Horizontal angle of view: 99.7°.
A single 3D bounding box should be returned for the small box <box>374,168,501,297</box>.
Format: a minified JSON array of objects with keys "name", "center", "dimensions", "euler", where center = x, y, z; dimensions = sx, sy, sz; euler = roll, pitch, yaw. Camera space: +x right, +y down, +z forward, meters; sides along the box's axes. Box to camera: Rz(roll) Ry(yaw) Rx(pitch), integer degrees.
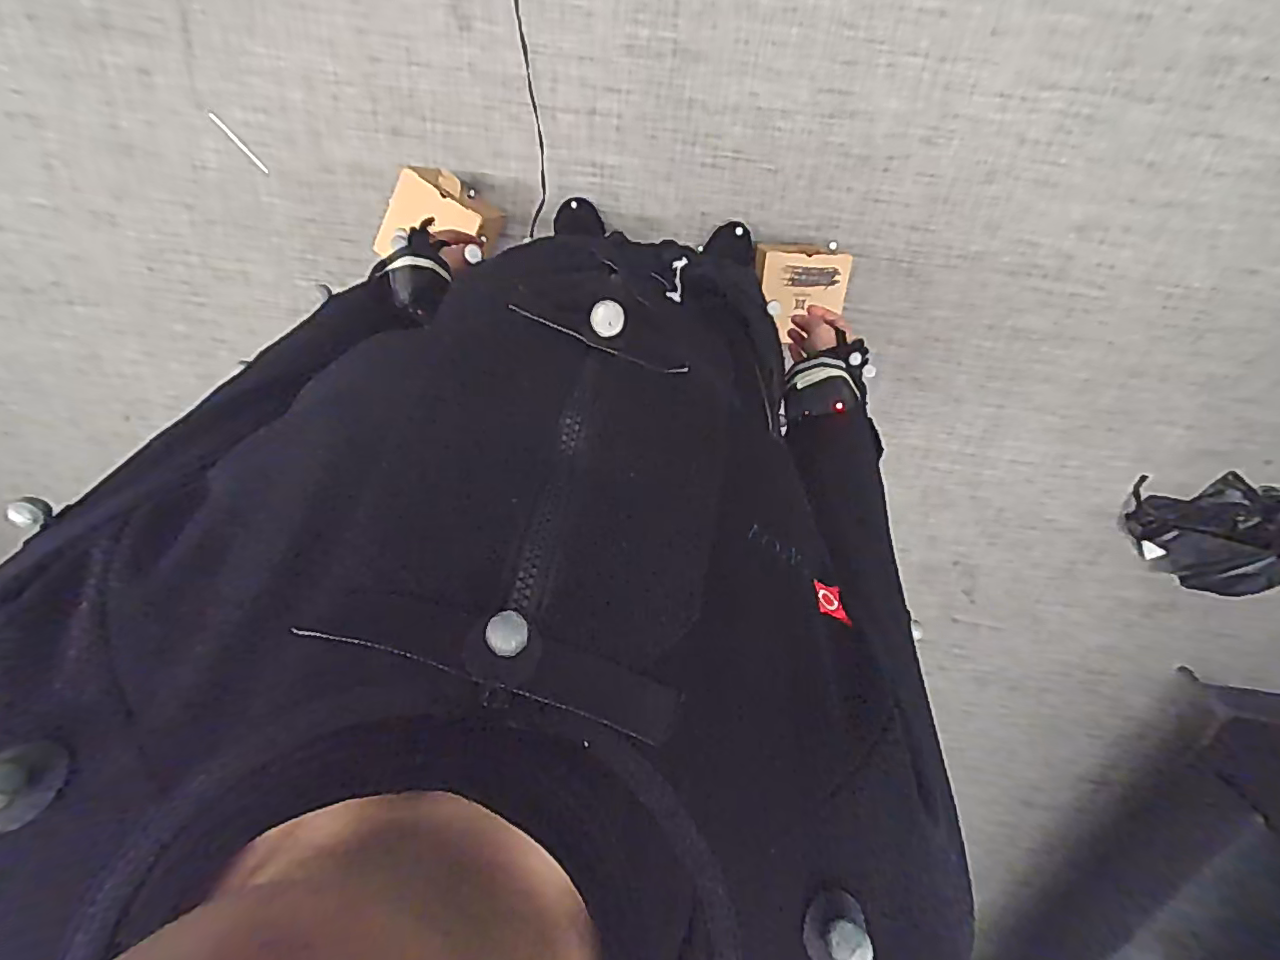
[{"name":"small box","center":[-0.411,-0.513,1.124],"dimensions":[0.168,0.176,0.179],"euler":[31,115,-12]}]
